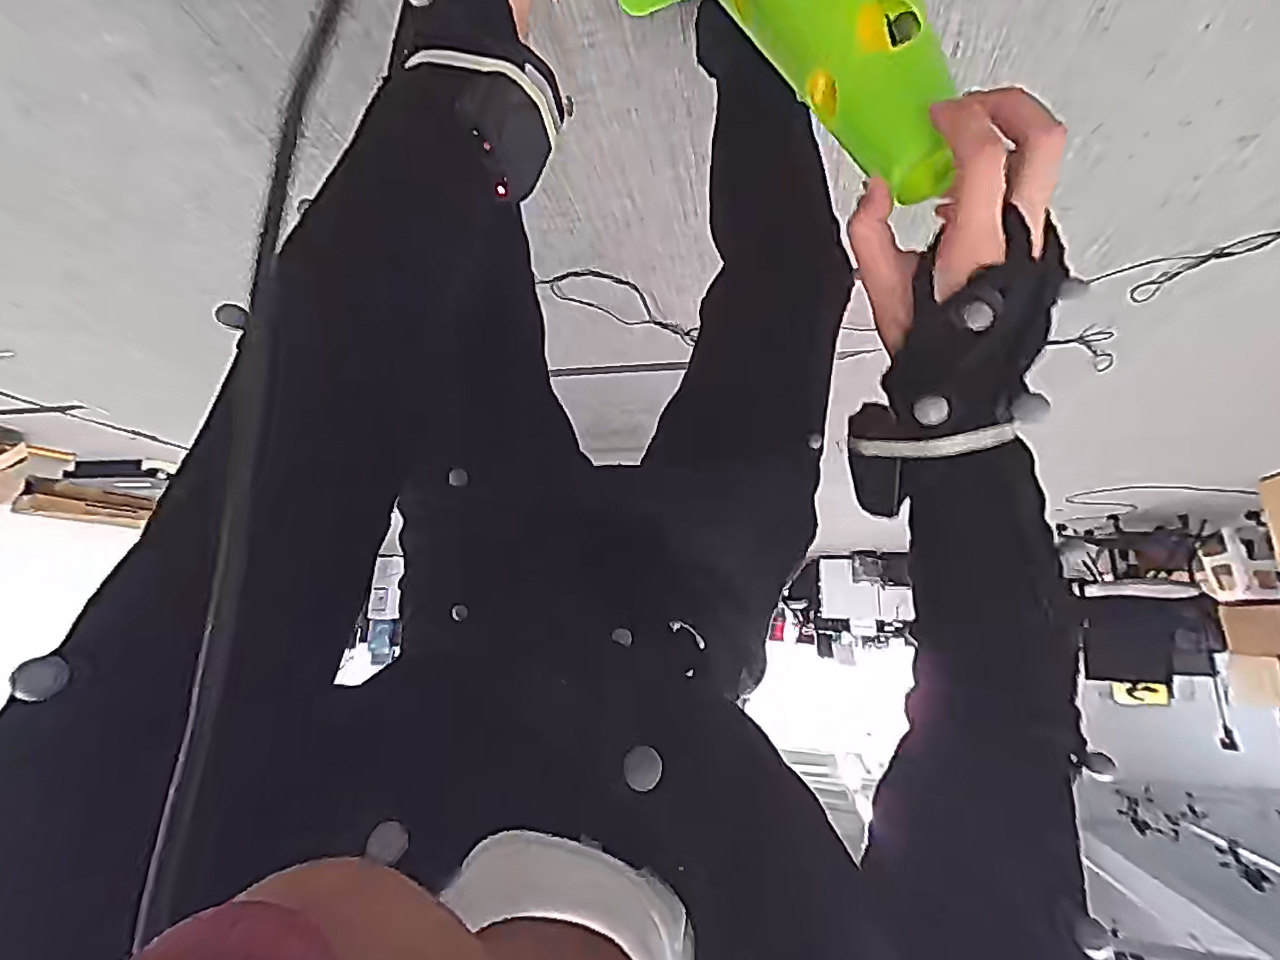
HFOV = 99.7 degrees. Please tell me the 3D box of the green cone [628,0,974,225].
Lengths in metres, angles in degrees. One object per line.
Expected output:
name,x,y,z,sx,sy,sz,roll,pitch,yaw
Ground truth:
green cone,0.105,-0.303,0.318,0.202,0.368,0.200,-16,159,7
